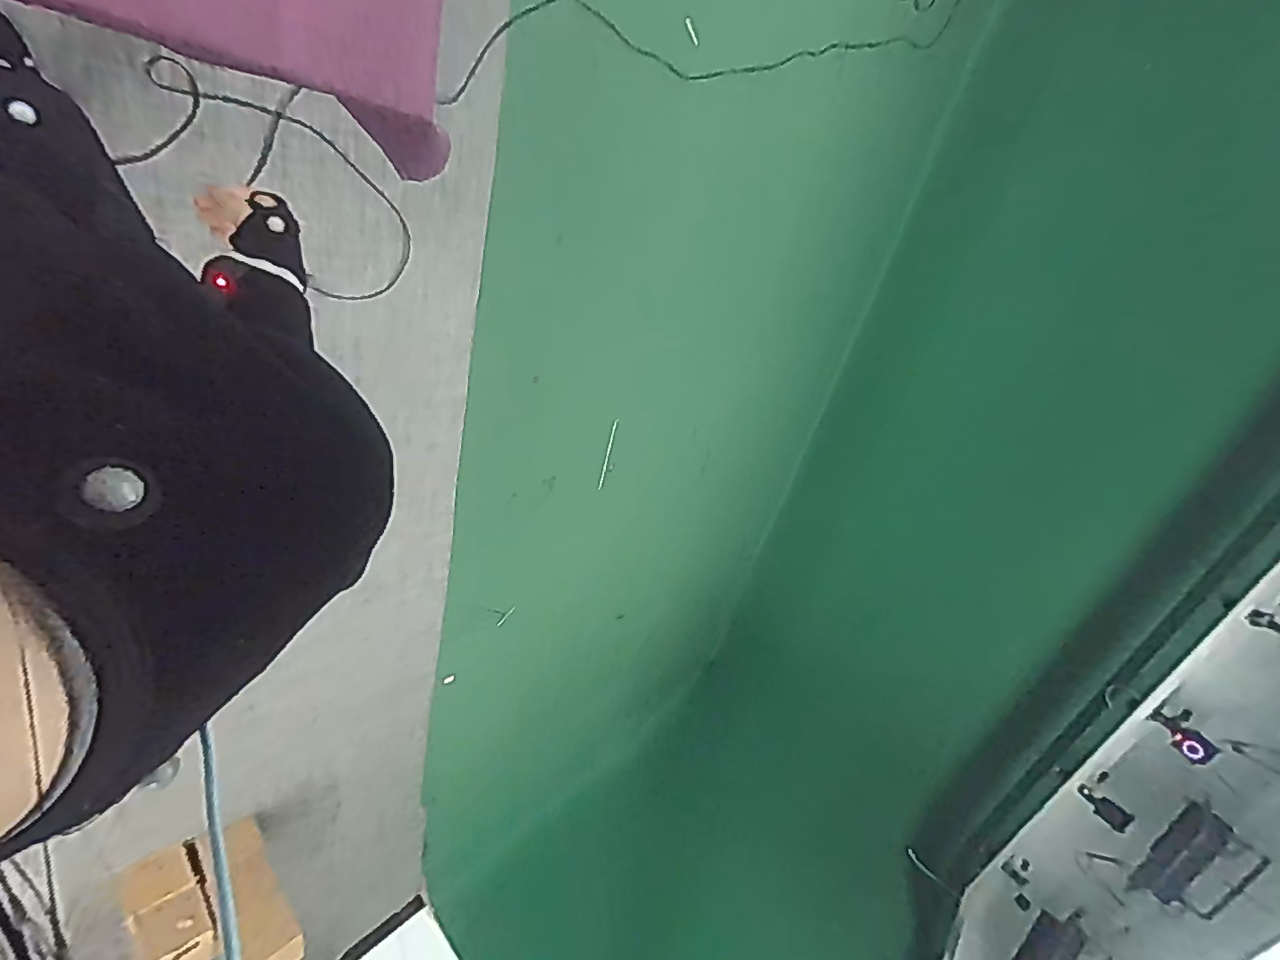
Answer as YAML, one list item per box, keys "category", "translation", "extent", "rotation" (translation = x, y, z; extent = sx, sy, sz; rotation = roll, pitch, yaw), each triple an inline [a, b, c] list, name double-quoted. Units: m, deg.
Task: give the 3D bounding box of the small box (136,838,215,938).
- category: "small box"
  translation: [-1.548, 1.352, 1.804]
  extent: [0.168, 0.176, 0.179]
  rotation: [-15, 128, -46]
